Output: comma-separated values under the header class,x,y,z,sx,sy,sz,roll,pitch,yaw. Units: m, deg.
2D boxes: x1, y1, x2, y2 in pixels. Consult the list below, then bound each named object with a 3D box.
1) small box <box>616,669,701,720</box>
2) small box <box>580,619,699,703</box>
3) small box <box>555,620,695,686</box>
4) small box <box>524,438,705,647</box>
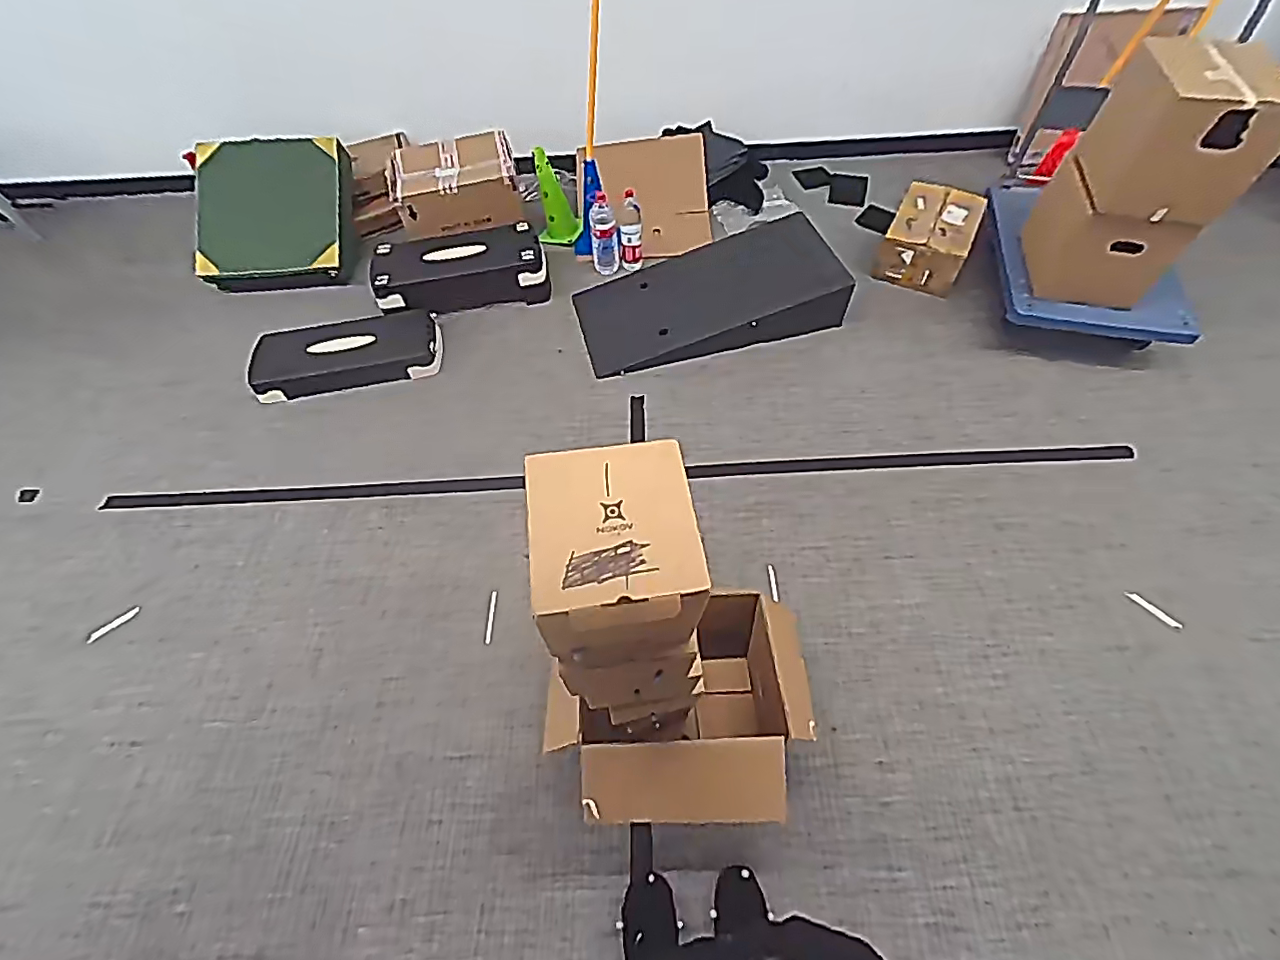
class,x,y,z,sx,sy,sz,roll,pitch,yaw
small box,0.014,0.400,1.171,0.179,0.176,0.168,-19,62,-13
small box,-0.010,0.255,0.876,0.179,0.176,0.168,-7,61,-5
small box,-0.026,0.175,0.734,0.168,0.176,0.179,-6,60,-5
small box,-0.032,0.078,0.600,0.168,0.176,0.179,-6,60,-6
